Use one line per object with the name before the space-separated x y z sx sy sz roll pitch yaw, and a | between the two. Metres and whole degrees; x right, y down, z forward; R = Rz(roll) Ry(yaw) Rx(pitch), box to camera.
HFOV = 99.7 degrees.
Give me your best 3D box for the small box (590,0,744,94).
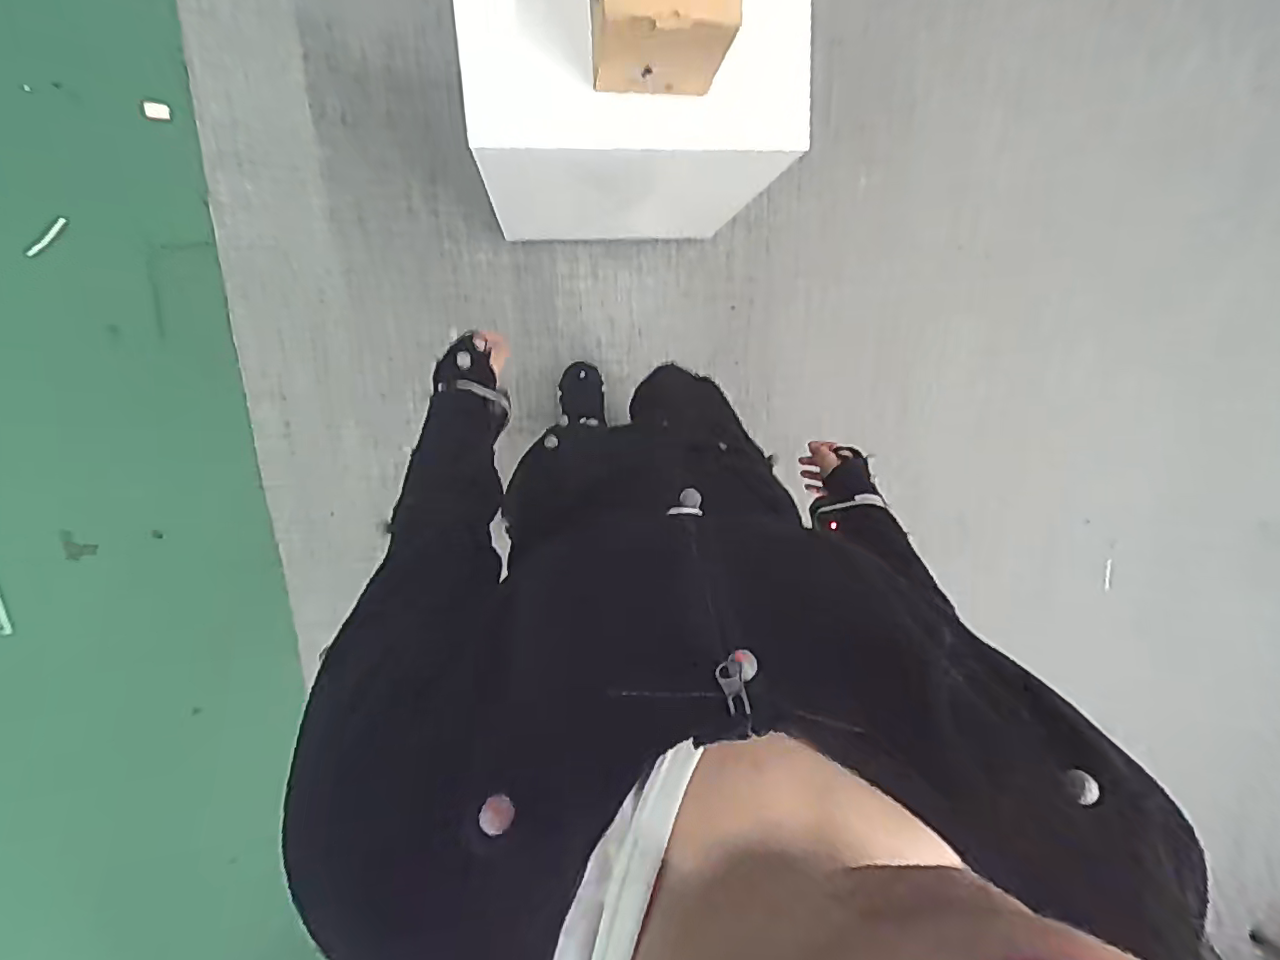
small box | 0.025 -0.623 0.672 0.168 0.176 0.179 -3 101 -7
